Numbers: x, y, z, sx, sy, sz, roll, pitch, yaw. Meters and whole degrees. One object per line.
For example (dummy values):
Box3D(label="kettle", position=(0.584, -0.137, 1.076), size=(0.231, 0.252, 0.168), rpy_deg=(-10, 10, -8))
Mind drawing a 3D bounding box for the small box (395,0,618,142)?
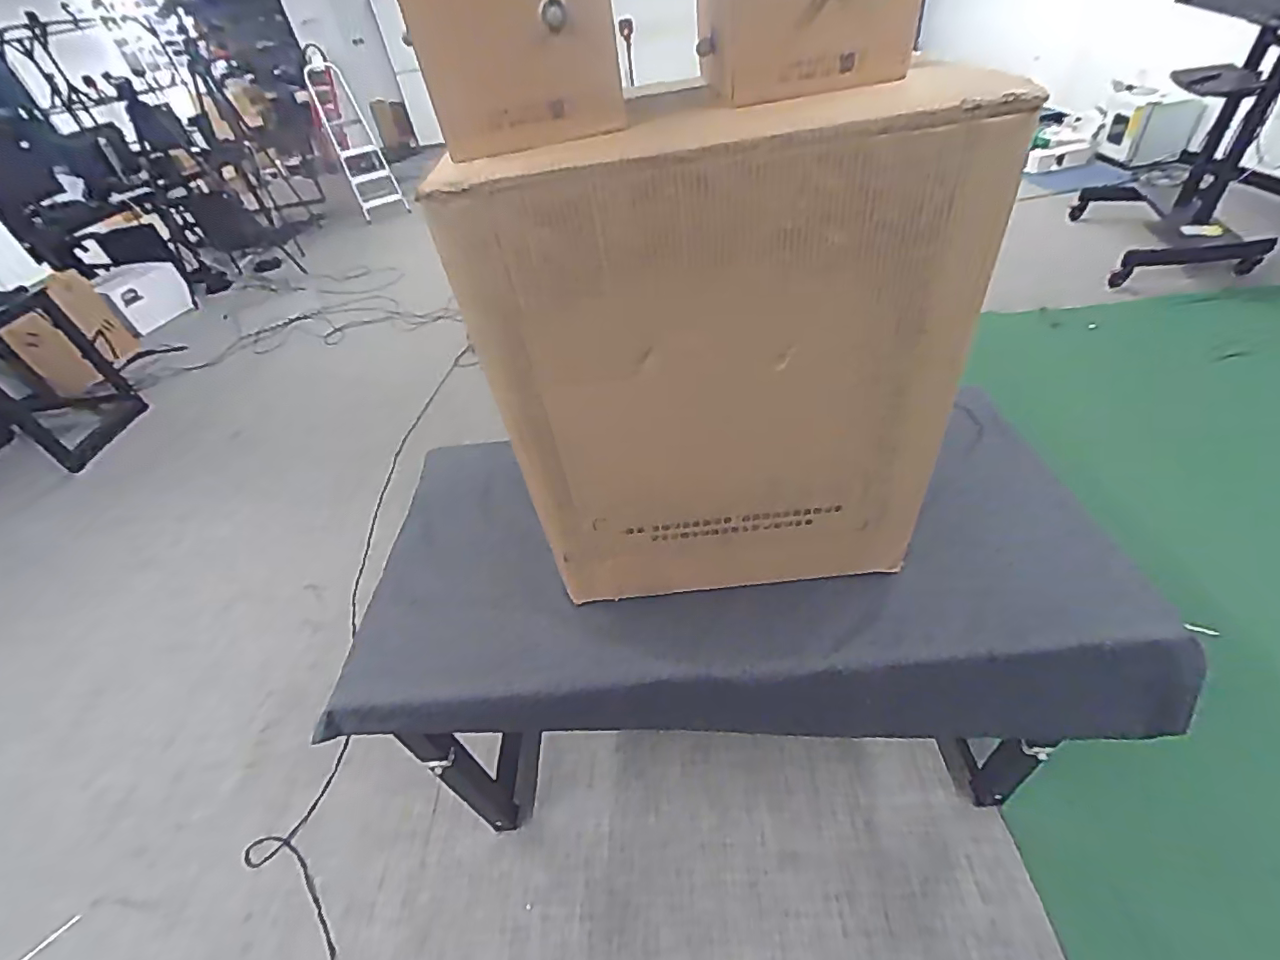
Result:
Box3D(label="small box", position=(-0.123, -0.431, 0.492), size=(0.168, 0.176, 0.179), rpy_deg=(-14, 46, -2))

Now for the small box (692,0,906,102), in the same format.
Box3D(label="small box", position=(0.141, -0.475, 0.503), size=(0.168, 0.176, 0.179), rpy_deg=(-10, 46, 1))
